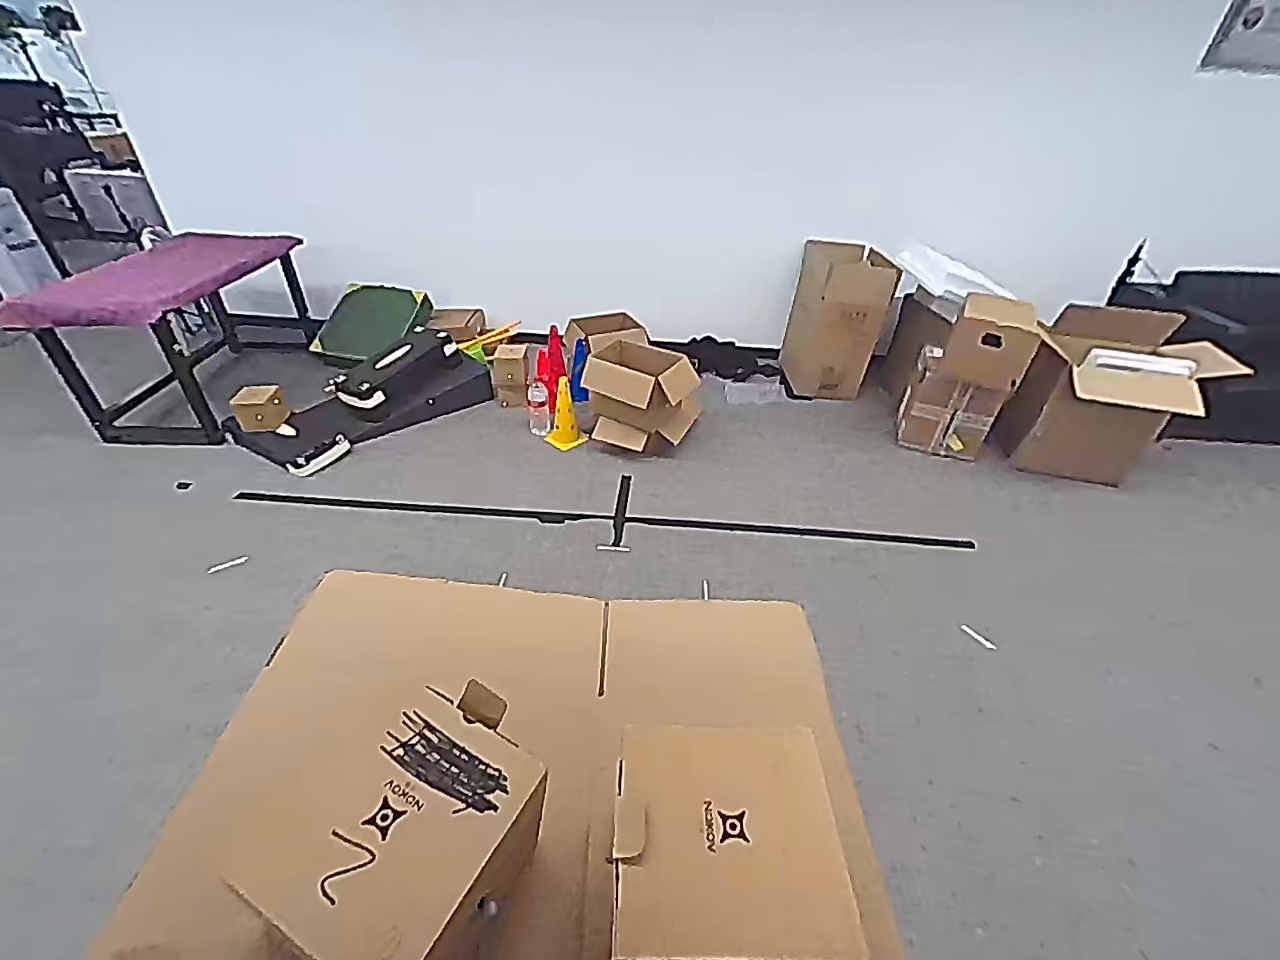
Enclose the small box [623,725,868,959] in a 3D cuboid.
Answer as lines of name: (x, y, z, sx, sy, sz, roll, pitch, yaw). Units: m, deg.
small box: (0.075, 0.343, 0.489, 0.179, 0.176, 0.168, -1, 38, 0)
